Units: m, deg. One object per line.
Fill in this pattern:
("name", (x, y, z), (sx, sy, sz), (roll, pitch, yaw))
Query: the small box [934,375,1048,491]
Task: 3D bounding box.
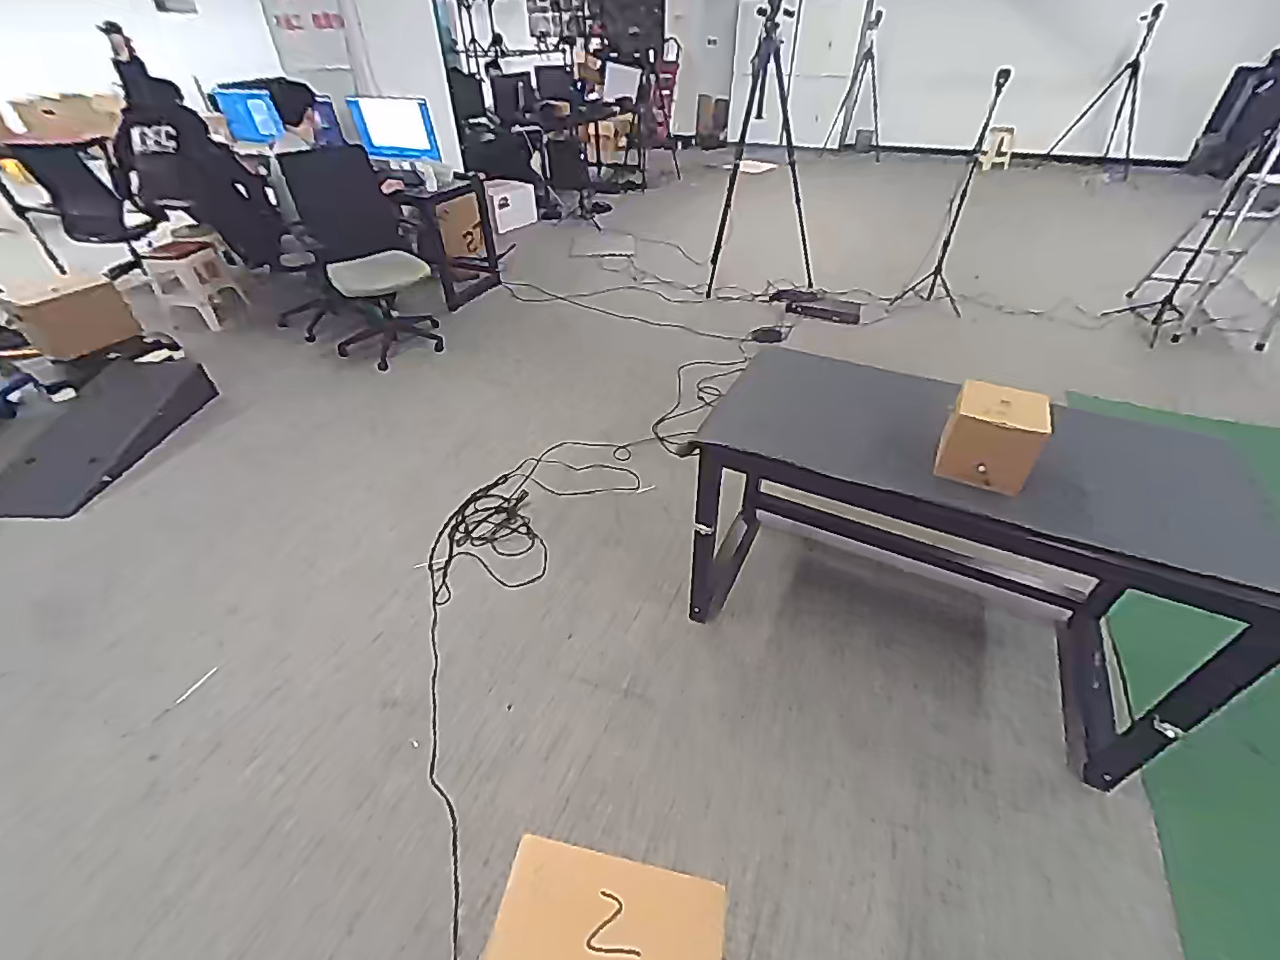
("small box", (0.773, -0.107, 1.201), (0.168, 0.176, 0.179), (18, 43, 22))
